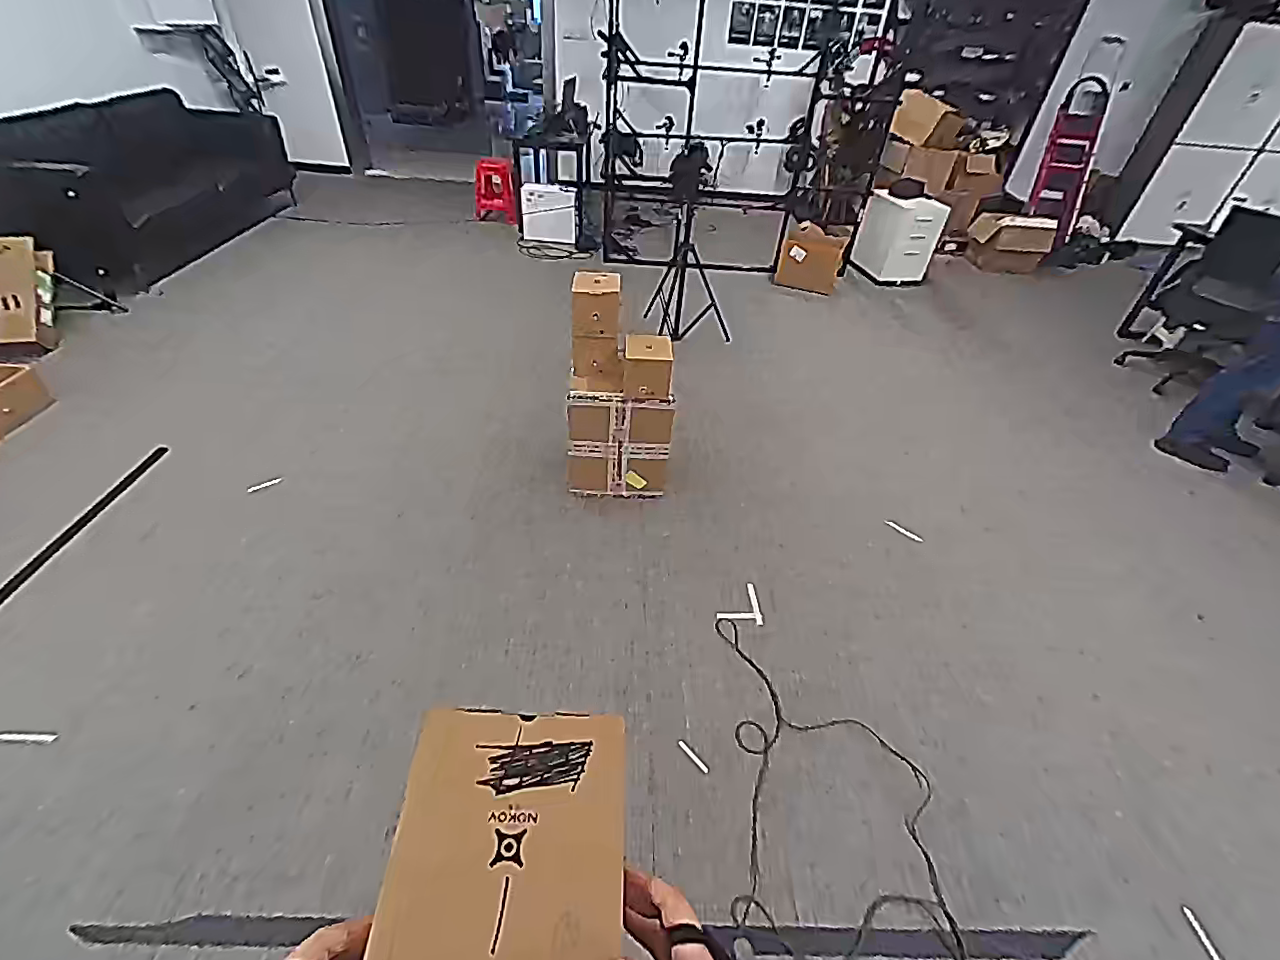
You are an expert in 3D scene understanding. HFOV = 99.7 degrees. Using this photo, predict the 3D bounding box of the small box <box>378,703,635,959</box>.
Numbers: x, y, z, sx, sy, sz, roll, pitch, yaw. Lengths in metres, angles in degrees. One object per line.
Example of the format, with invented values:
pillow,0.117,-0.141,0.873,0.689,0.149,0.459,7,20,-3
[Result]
small box,-0.095,0.310,0.457,0.168,0.176,0.179,4,47,-5

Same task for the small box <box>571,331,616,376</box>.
small box,-0.174,-0.513,2.064,0.168,0.176,0.179,0,43,-3

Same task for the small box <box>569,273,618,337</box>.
small box,-0.163,-0.629,1.947,0.168,0.176,0.179,1,43,-2
